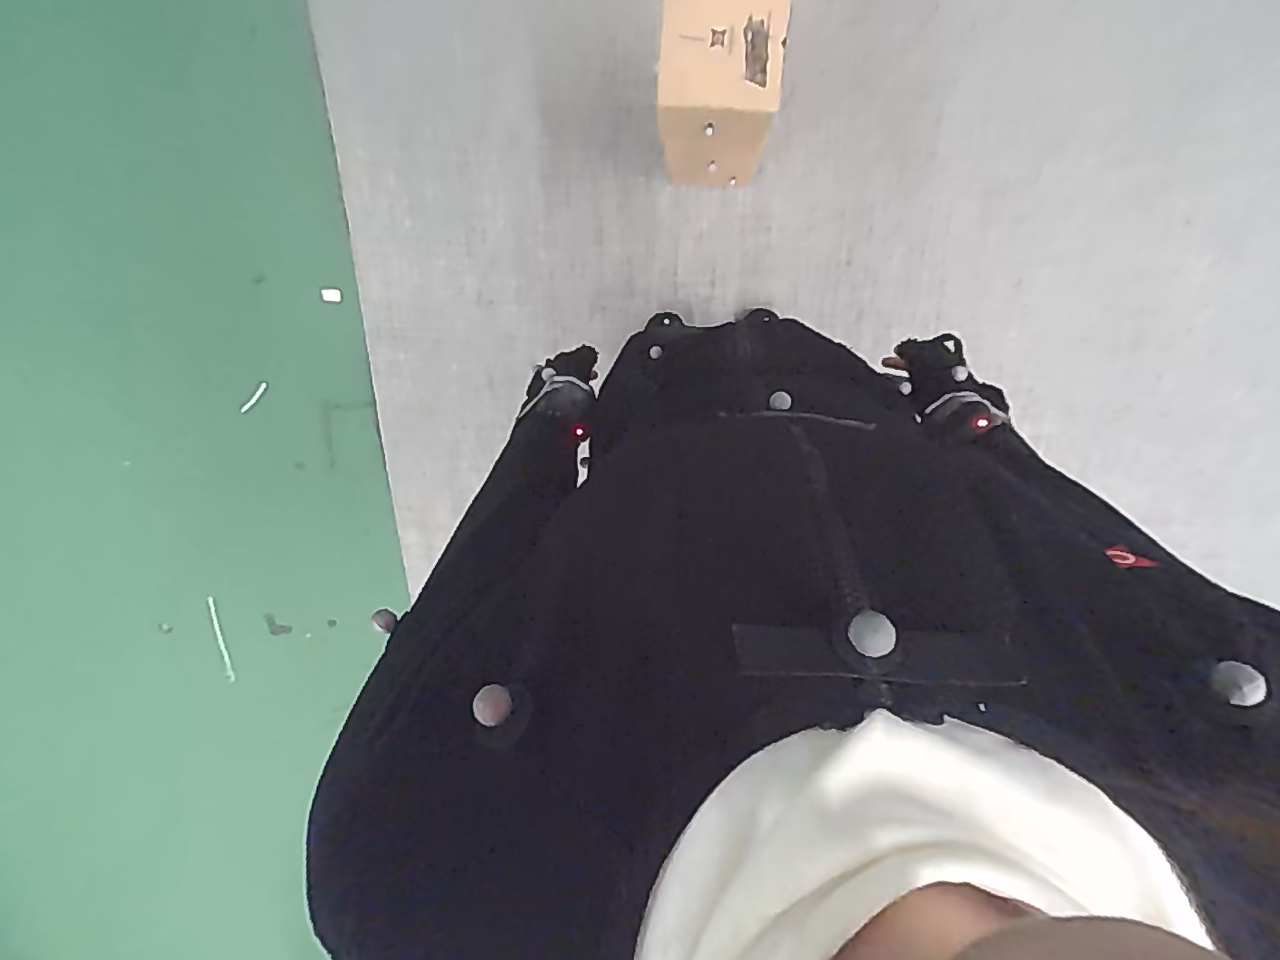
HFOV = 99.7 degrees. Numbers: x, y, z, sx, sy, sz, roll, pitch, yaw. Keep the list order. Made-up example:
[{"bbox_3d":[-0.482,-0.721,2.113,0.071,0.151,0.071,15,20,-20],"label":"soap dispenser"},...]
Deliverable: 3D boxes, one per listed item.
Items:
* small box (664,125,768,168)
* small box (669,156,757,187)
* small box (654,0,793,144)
[{"bbox_3d":[0.137,-0.678,0.979,0.179,0.176,0.168,4,108,3],"label":"small box"},{"bbox_3d":[0.154,-0.725,1.135,0.179,0.176,0.168,3,107,5],"label":"small box"},{"bbox_3d":[0.122,-0.630,0.822,0.179,0.176,0.168,7,108,4],"label":"small box"}]
